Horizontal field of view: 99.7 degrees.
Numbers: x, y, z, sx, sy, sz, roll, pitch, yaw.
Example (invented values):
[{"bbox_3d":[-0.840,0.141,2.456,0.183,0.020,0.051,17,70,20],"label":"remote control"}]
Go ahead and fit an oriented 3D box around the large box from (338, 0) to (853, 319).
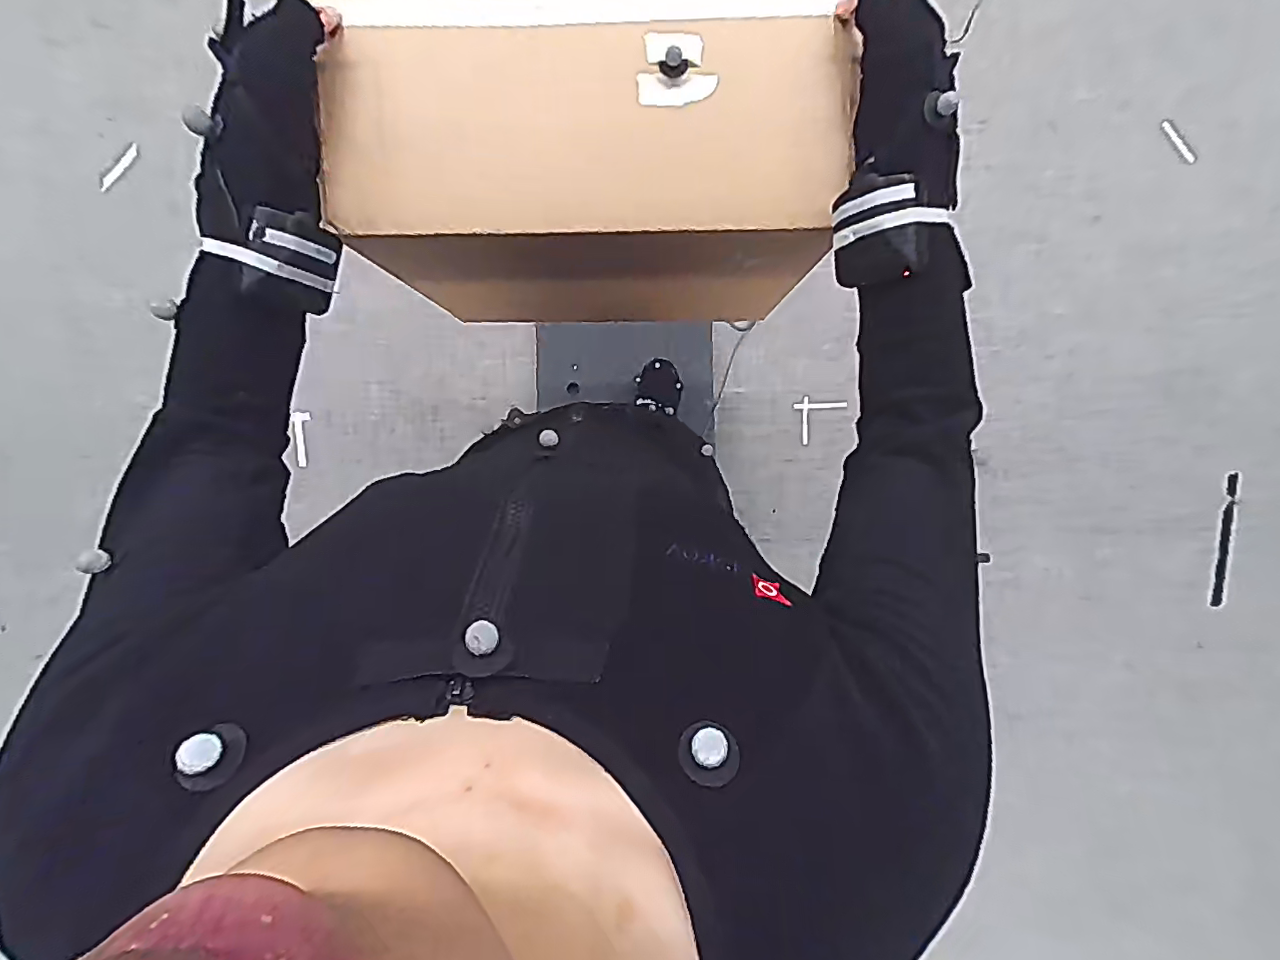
[{"bbox_3d":[-0.036,-0.364,0.565,0.408,0.320,0.320,-1,94,0],"label":"large box"}]
